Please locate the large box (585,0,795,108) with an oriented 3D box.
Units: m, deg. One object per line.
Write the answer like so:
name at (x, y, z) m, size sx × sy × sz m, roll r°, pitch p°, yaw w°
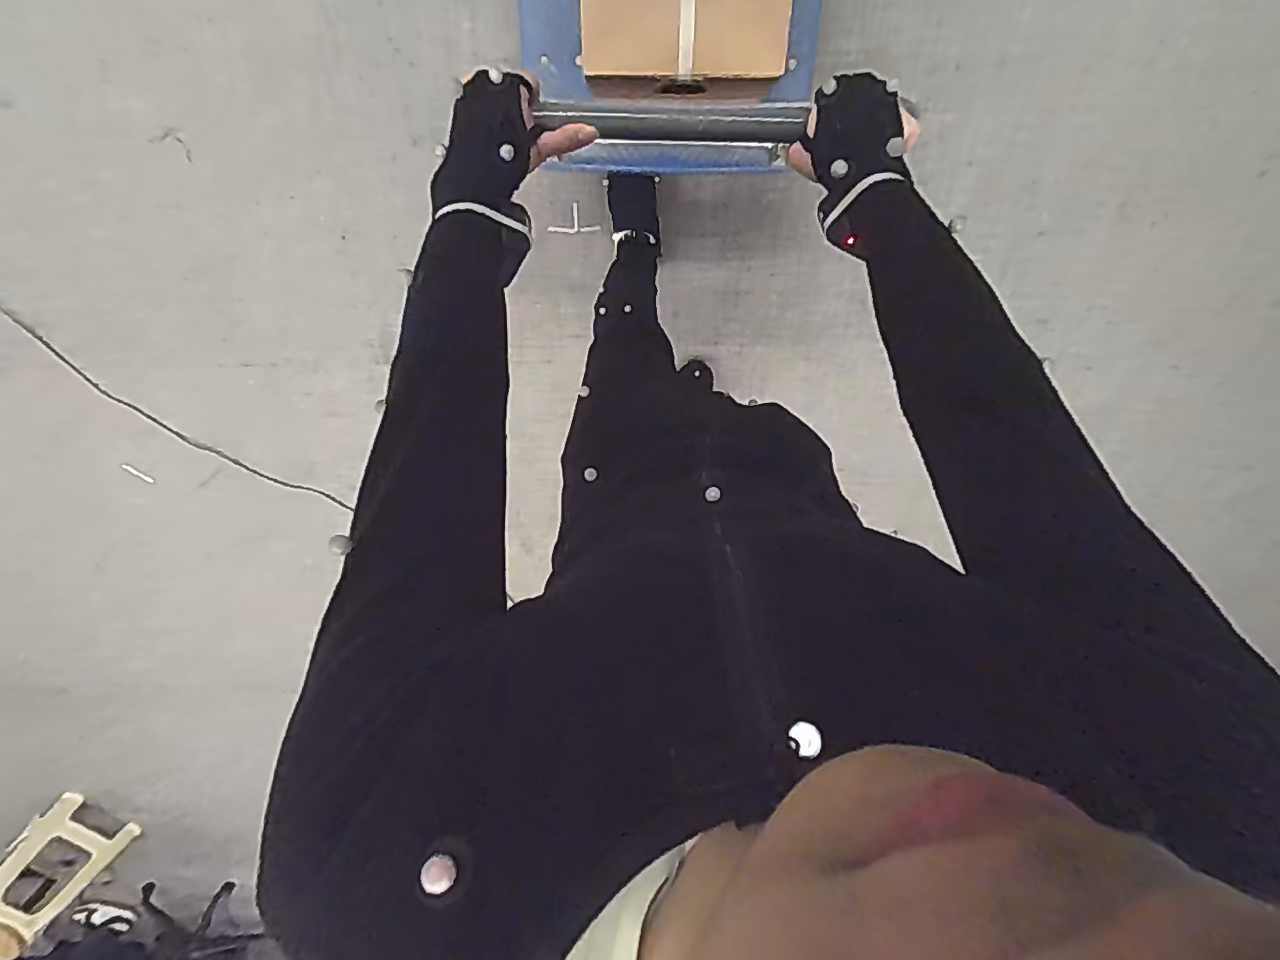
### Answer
large box at (0.077, -0.876, 0.881) m, size 0.320 × 0.320 × 0.408 m, roll 1°, pitch 115°, yaw 1°
